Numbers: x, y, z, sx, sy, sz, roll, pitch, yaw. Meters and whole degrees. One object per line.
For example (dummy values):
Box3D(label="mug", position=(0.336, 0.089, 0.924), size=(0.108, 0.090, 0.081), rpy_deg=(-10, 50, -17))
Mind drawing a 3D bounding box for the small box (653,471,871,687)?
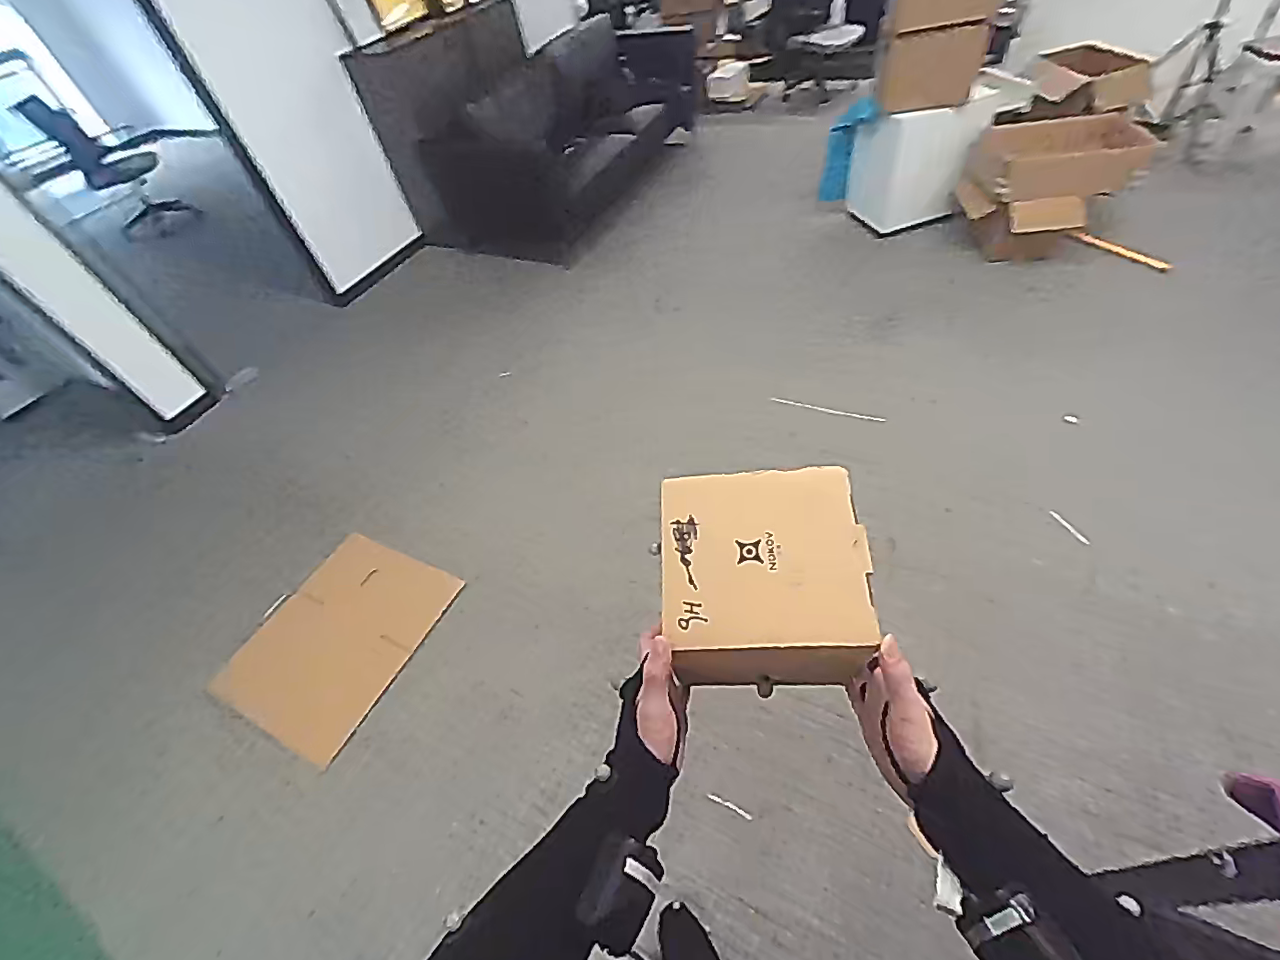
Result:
Box3D(label="small box", position=(0.109, 0.106, 0.542), size=(0.179, 0.176, 0.168), rpy_deg=(-3, 58, 7))
